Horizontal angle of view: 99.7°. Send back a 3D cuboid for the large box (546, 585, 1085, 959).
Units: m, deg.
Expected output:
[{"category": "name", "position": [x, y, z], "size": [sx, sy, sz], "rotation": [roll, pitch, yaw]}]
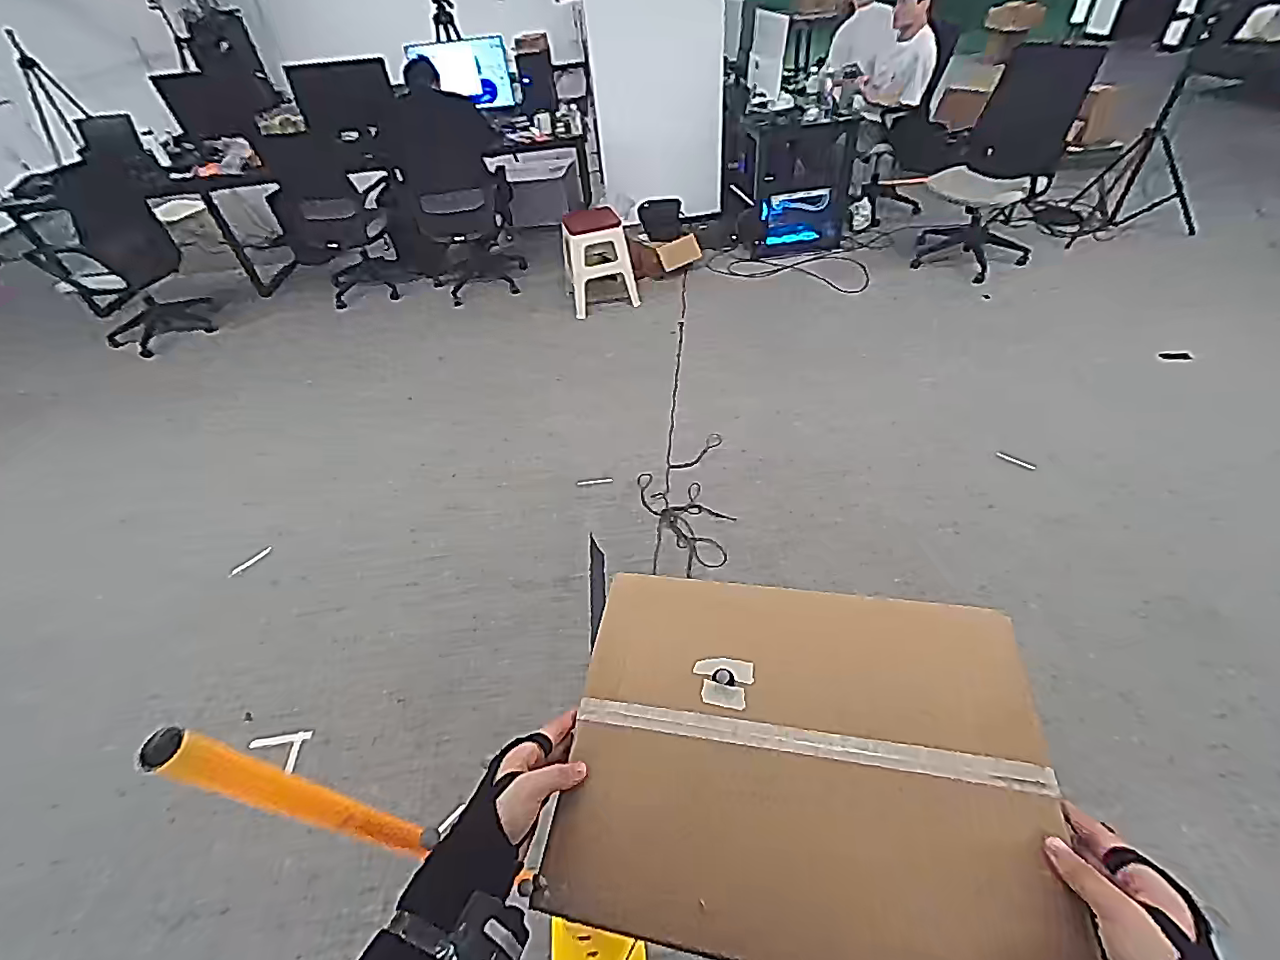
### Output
[{"category": "large box", "position": [0.164, 0.341, 0.606], "size": [0.408, 0.320, 0.320], "rotation": [2, 48, 14]}]
